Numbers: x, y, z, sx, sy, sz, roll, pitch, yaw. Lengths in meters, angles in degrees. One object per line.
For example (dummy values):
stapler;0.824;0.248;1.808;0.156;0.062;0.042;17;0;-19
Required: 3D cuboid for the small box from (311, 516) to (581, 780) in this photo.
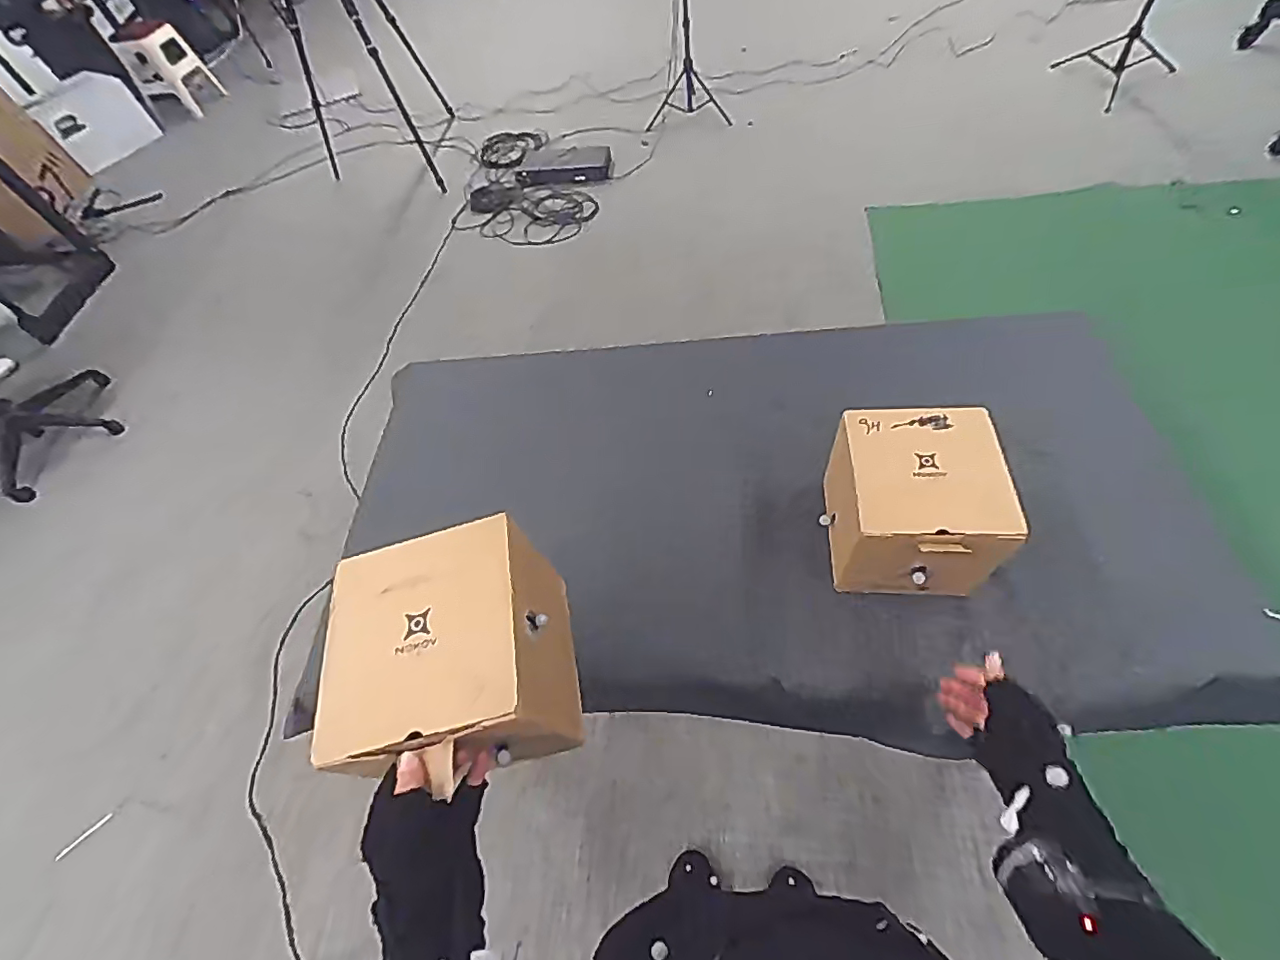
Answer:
small box;-0.161;0.164;0.501;0.168;0.176;0.179;-16;54;3
